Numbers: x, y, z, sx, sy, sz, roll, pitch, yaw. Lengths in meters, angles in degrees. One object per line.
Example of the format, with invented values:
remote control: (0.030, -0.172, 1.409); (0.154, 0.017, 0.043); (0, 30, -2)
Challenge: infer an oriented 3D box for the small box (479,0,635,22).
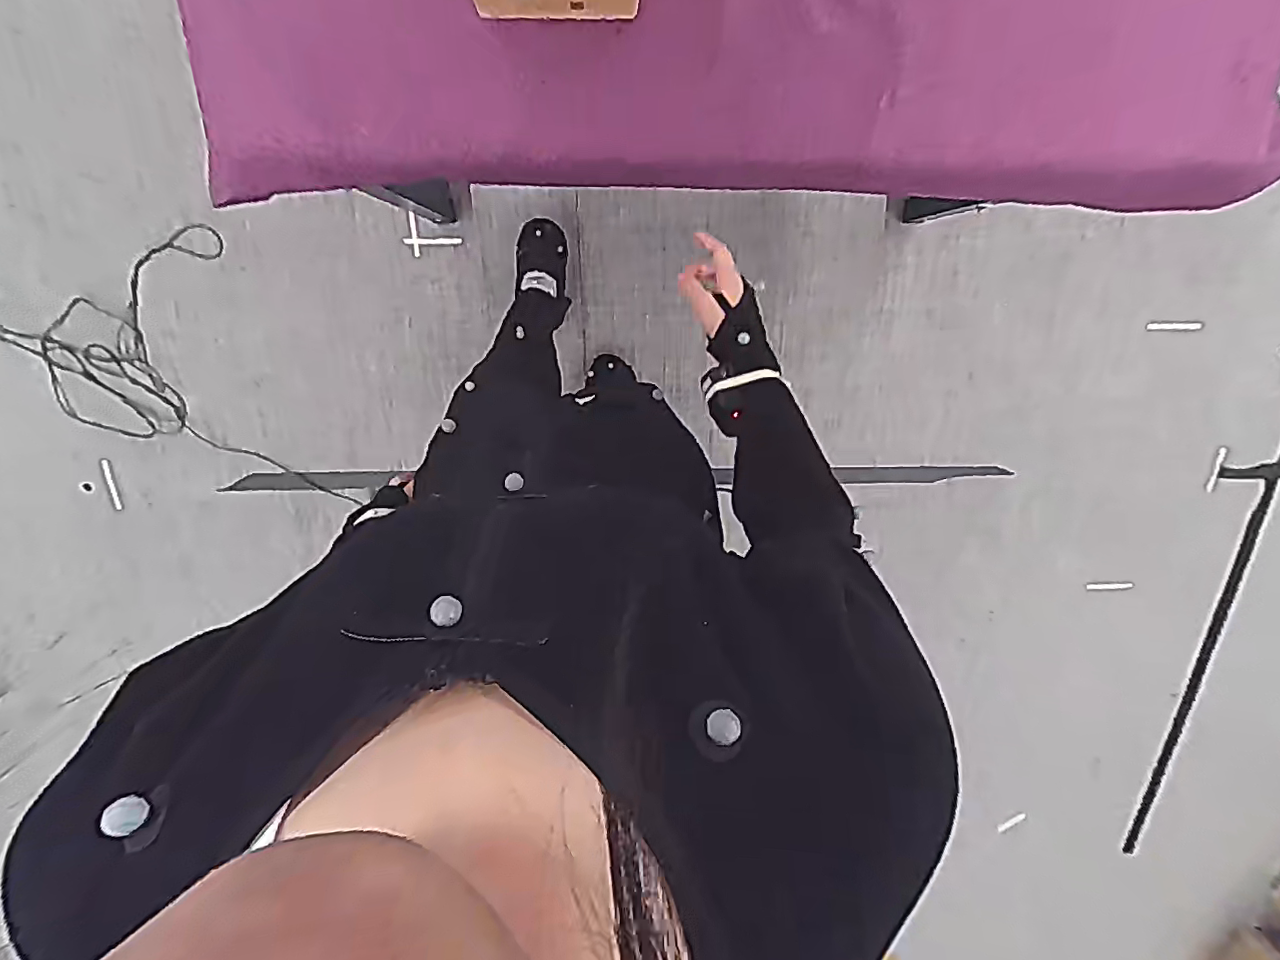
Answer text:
small box: (-0.084, -0.542, 0.475); (0.168, 0.176, 0.179); (-2, 109, -3)
